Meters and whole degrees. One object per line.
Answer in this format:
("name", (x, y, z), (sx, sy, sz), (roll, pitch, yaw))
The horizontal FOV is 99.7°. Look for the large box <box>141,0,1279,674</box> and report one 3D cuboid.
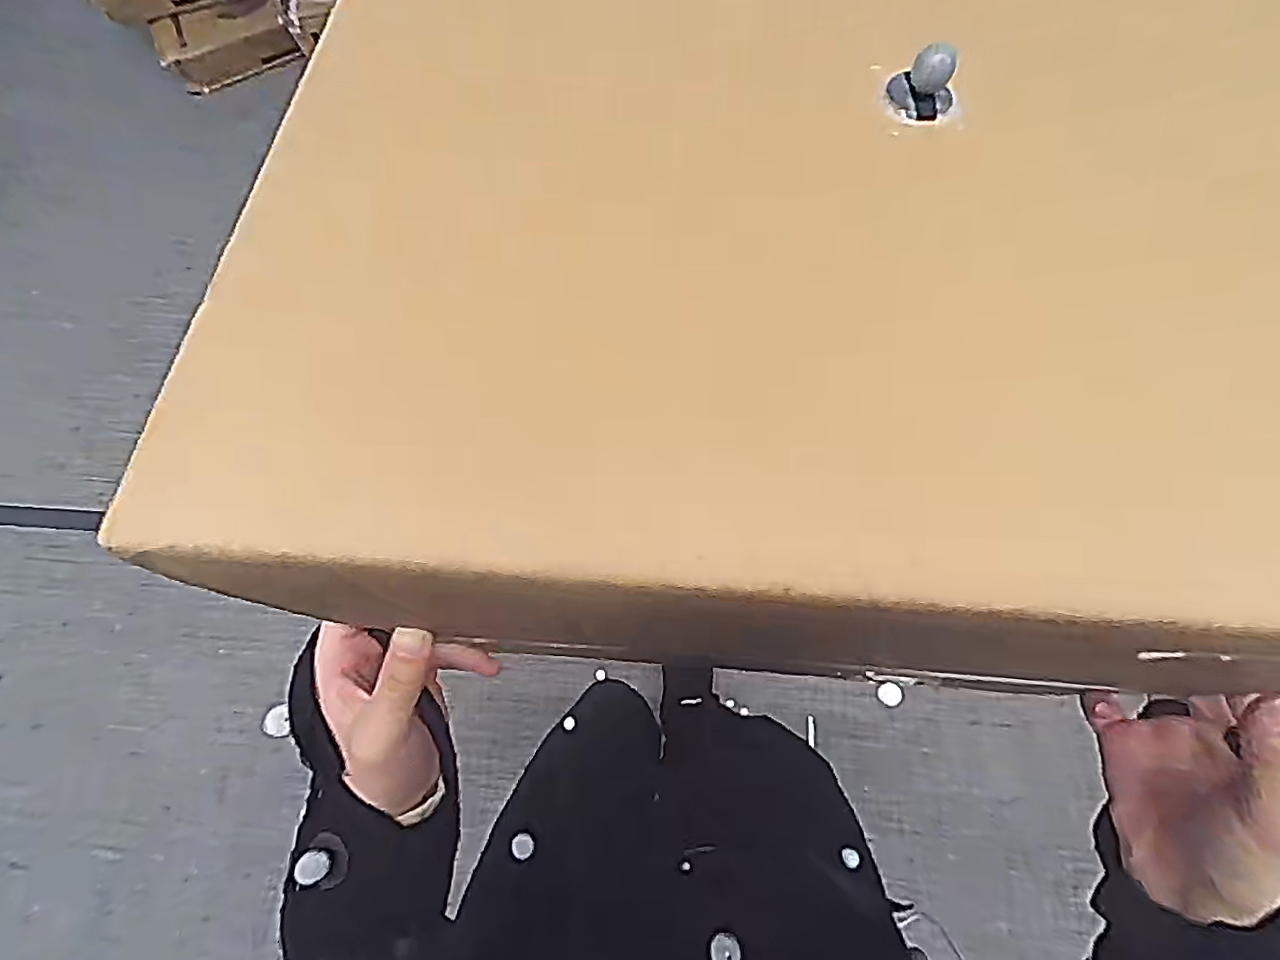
("large box", (0.081, -0.067, 0.316), (0.408, 0.320, 0.320), (3, 70, 0))
